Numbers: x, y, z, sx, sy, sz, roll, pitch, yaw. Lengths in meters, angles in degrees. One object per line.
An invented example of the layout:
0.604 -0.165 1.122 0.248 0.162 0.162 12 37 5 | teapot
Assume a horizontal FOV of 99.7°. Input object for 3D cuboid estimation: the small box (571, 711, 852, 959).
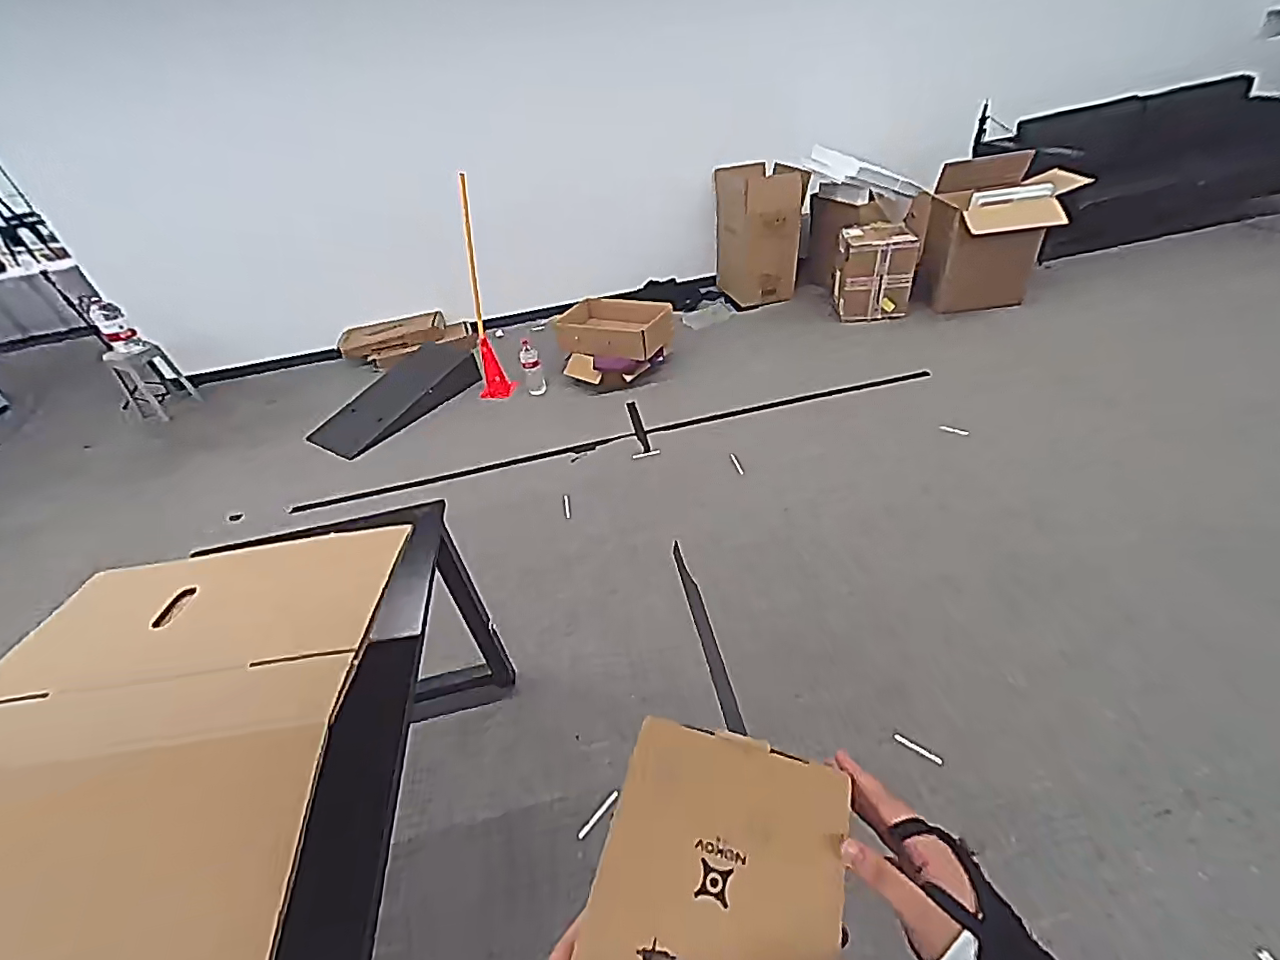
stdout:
0.067 0.323 0.437 0.168 0.176 0.179 8 48 20 | small box
